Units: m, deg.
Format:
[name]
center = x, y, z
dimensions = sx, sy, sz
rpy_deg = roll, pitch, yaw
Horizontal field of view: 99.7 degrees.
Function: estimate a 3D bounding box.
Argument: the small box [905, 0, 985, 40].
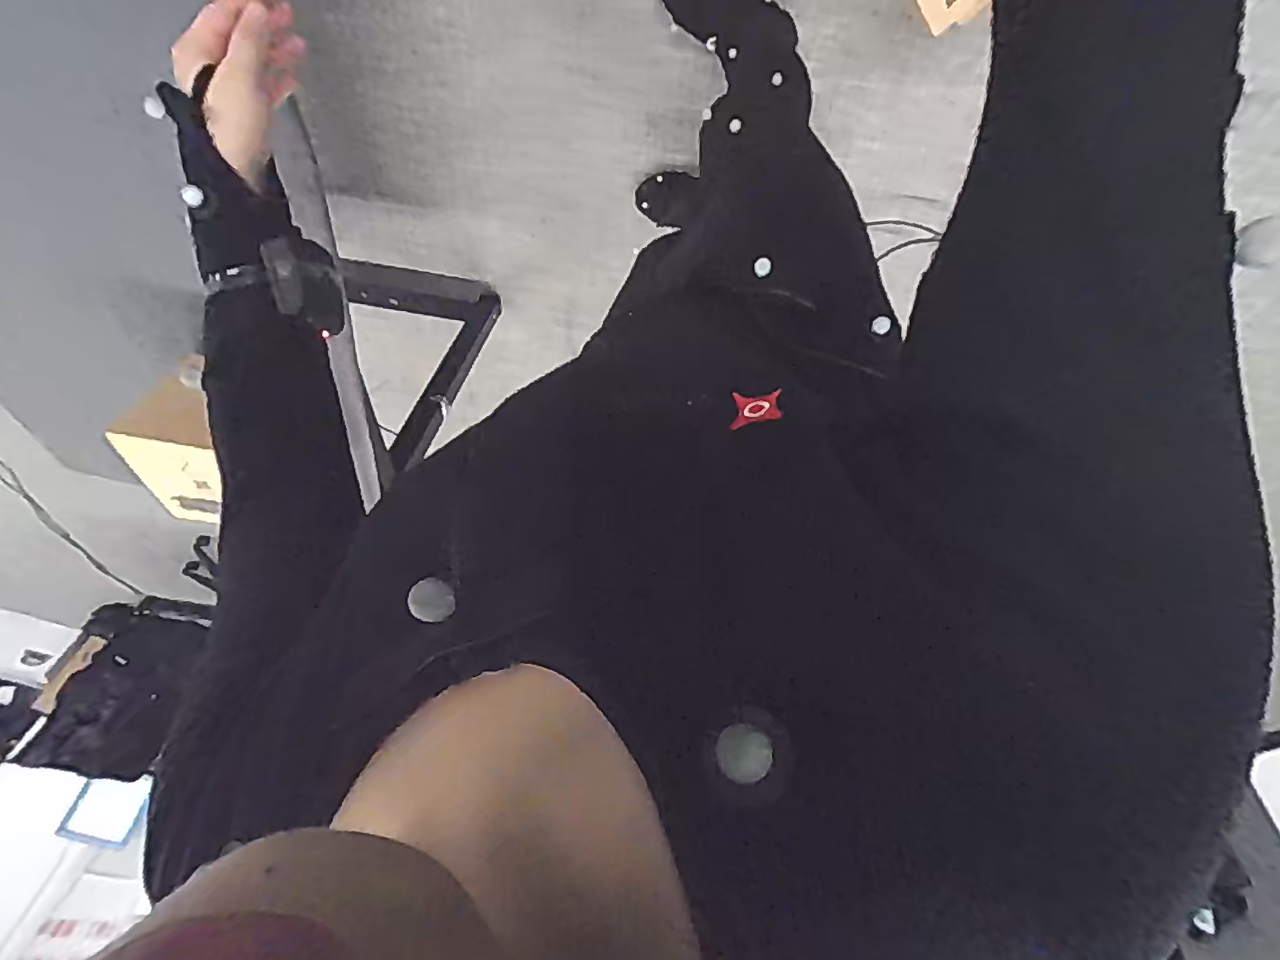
[small box]
center = 0.473, -0.826, 0.811
dimensions = 0.179, 0.176, 0.168
rpy_deg = 38, 132, -28
